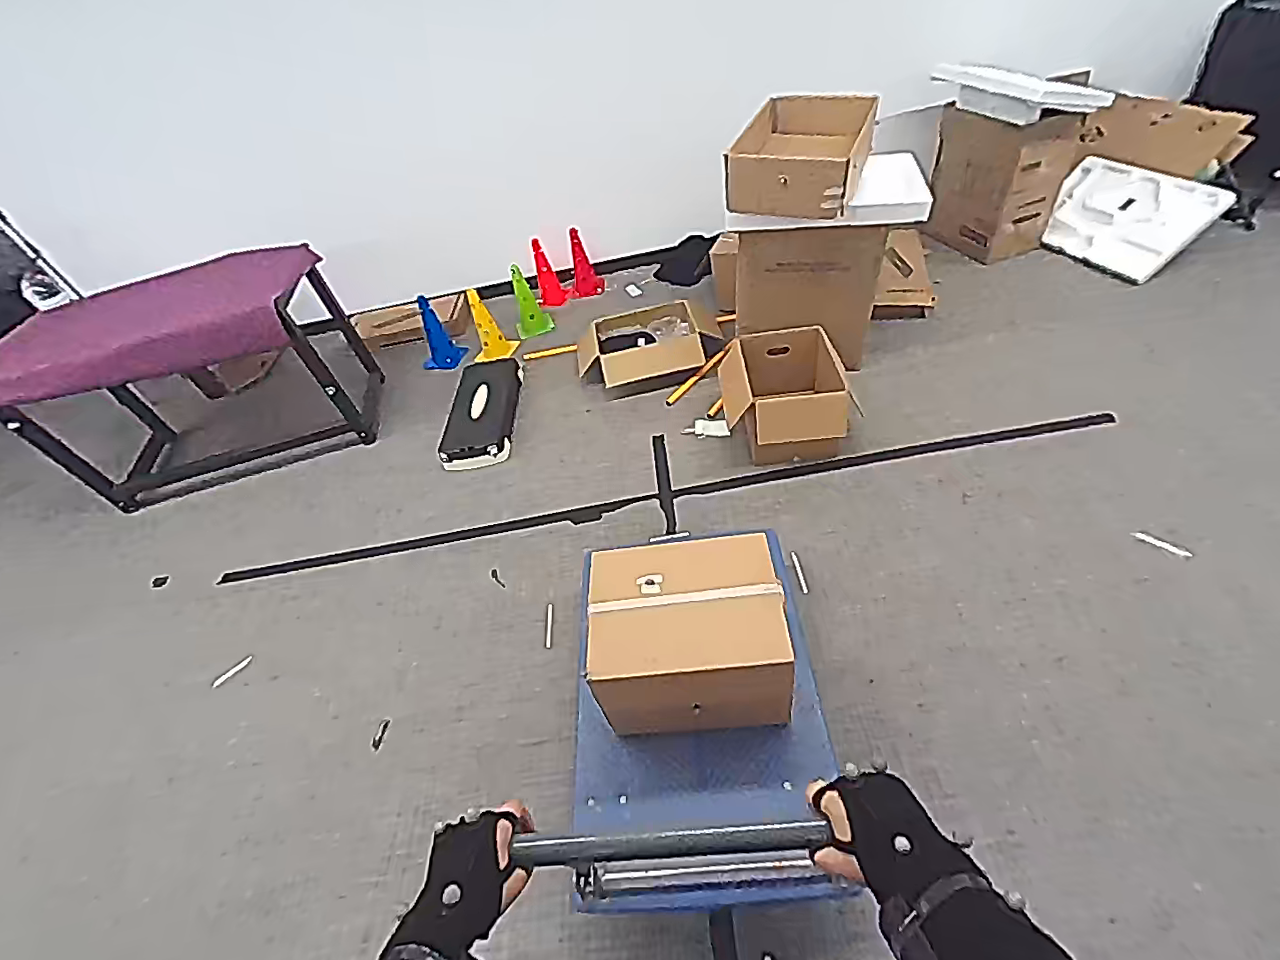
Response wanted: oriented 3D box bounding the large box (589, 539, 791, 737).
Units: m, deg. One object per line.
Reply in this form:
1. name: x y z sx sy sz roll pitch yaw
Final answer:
1. large box: 0.116 0.374 1.261 0.408 0.320 0.320 -9 44 6
